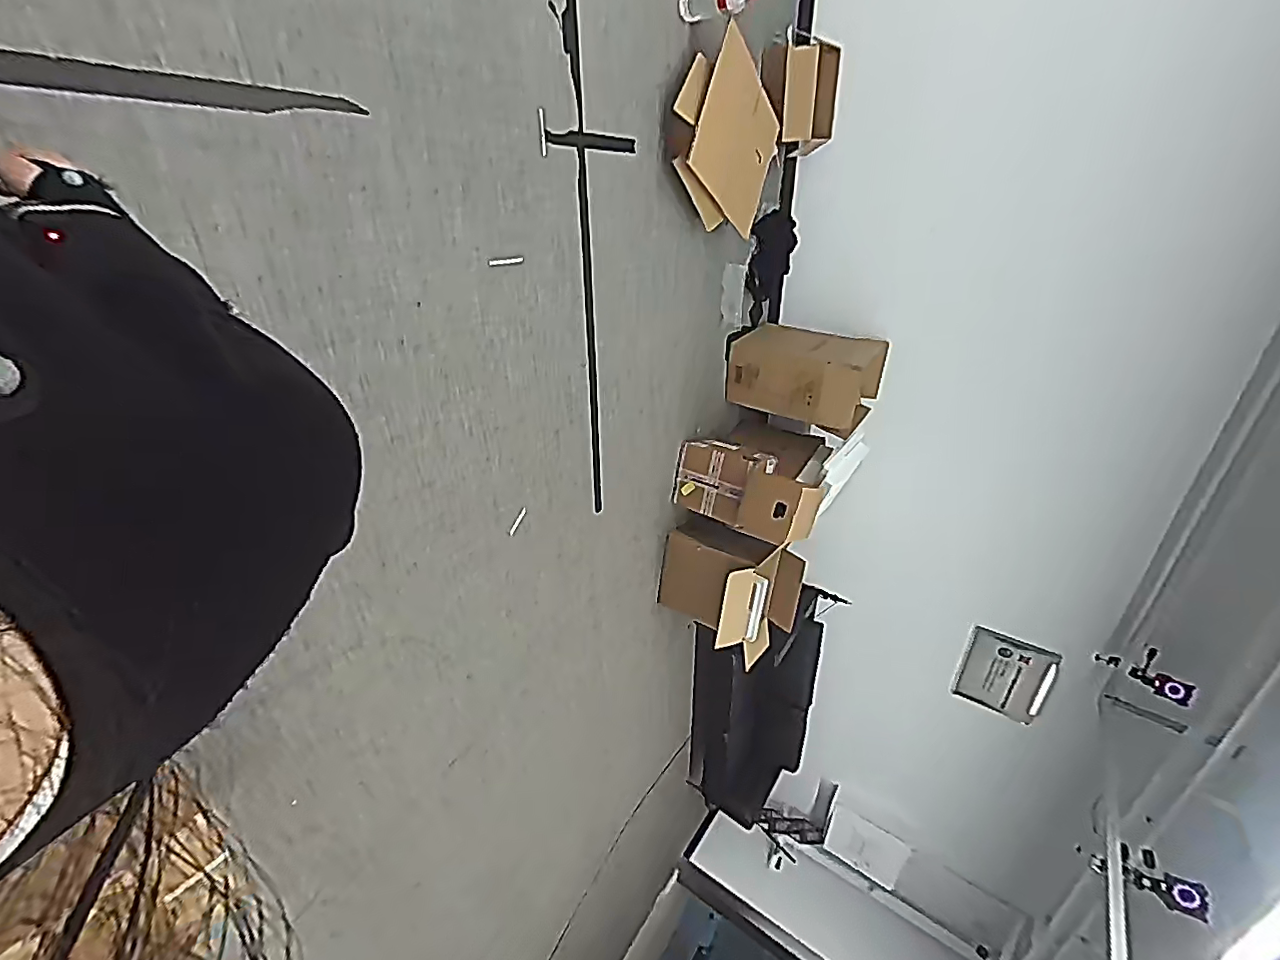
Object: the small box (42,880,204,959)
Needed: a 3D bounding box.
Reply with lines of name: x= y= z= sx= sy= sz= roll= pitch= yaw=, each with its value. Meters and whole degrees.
small box: x=-1.041 y=0.970 z=1.091 sx=0.179 sy=0.176 sz=0.168 roll=-34 pitch=131 yaw=-45
